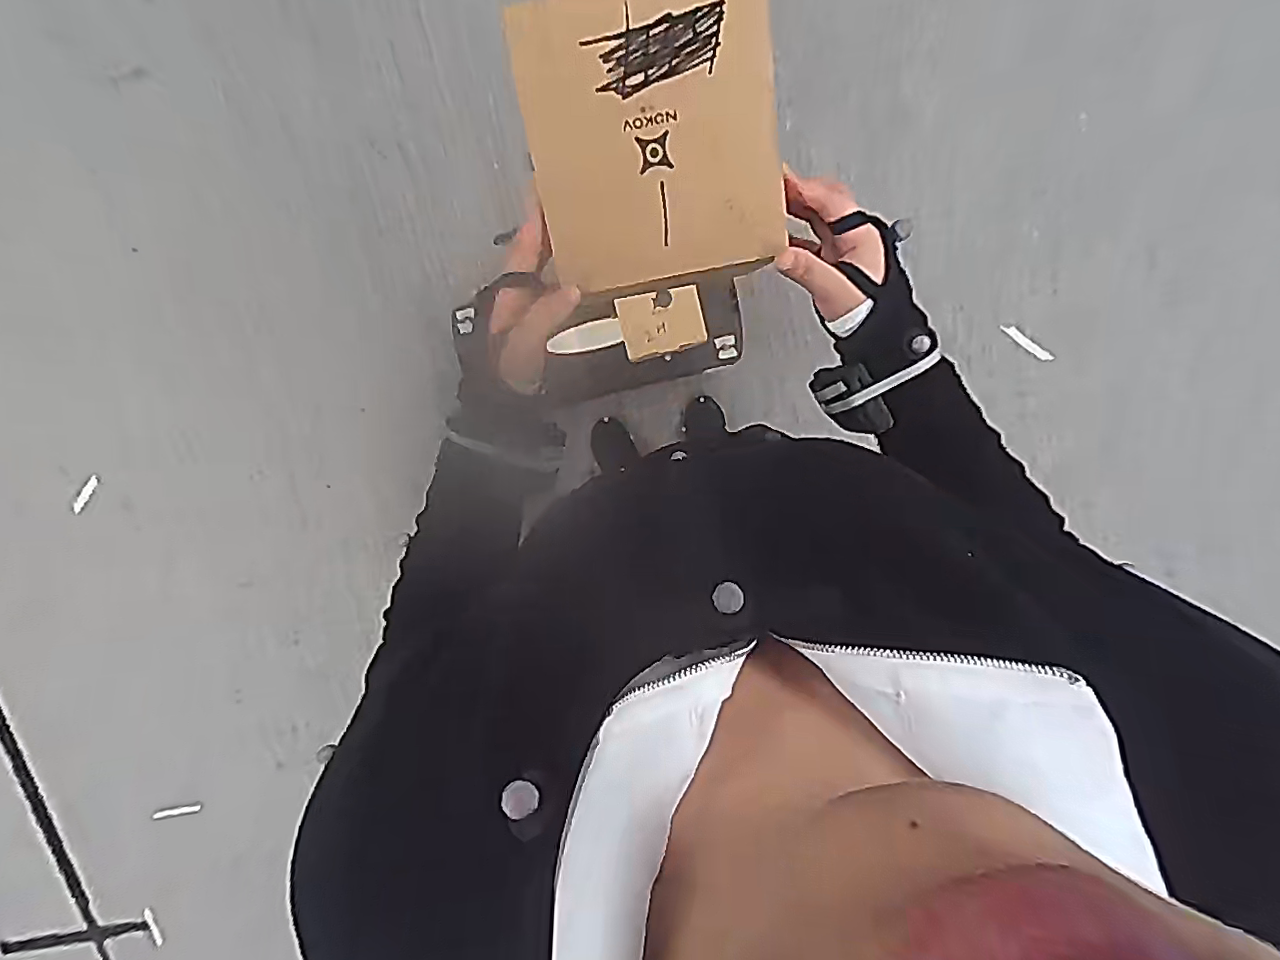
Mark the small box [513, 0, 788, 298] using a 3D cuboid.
[{"bbox_3d":[0.011,-0.254,0.441,0.168,0.176,0.179,-10,106,4],"label":"small box"}]

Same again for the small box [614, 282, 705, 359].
[{"bbox_3d":[0.035,-0.365,1.162,0.168,0.176,0.179,-14,100,4],"label":"small box"}]
